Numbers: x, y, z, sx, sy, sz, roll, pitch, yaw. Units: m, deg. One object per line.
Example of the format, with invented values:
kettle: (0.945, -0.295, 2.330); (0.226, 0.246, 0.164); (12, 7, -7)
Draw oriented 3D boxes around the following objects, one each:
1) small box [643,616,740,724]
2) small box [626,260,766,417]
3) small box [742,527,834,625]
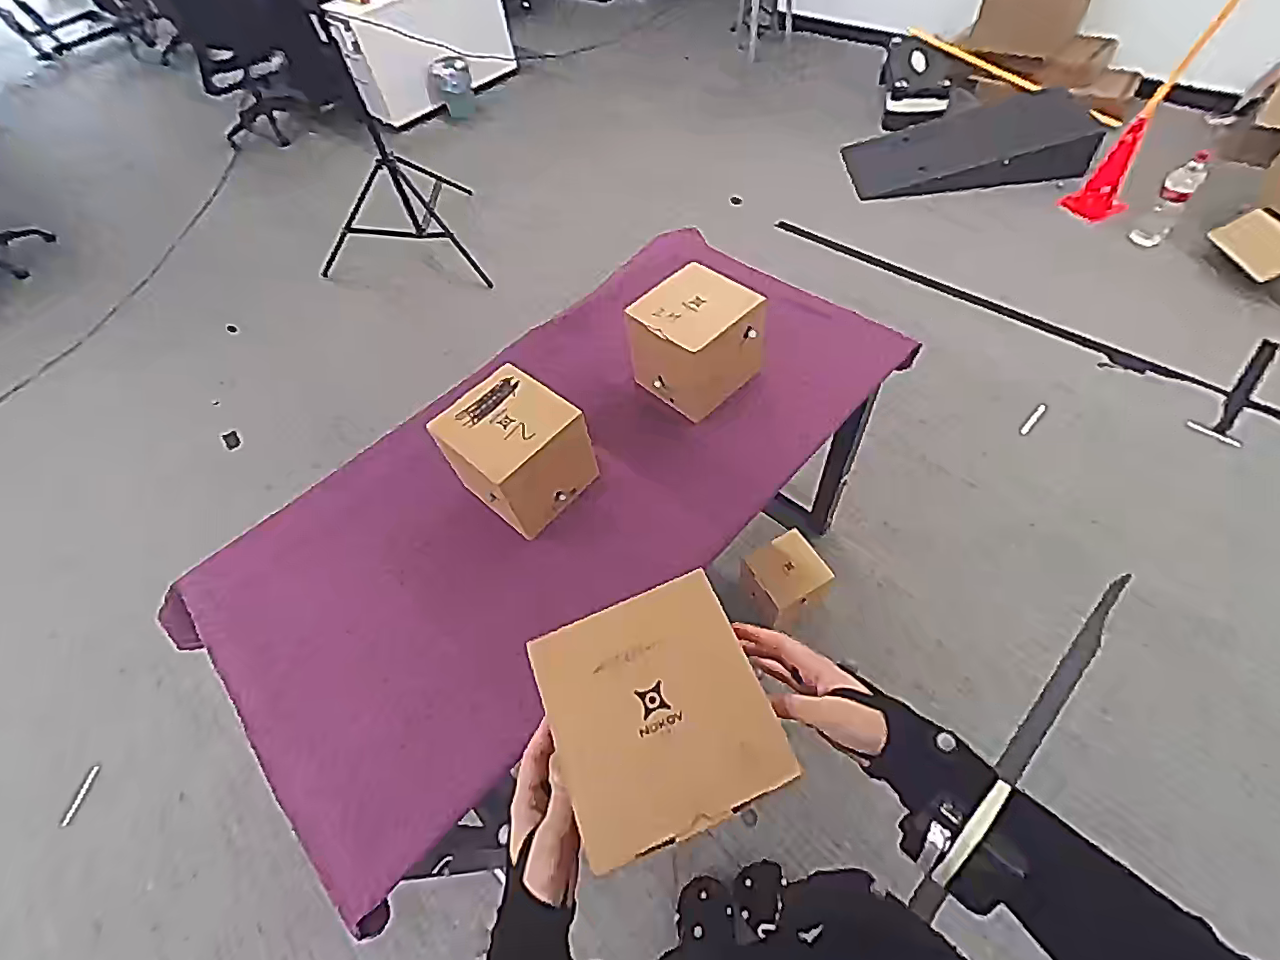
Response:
small box: (0.128, 0.479, 1.348); (0.179, 0.176, 0.168); (37, 68, 26)
small box: (0.099, -0.247, 0.956); (0.179, 0.176, 0.168); (-41, 60, -18)
small box: (0.390, 0.263, 1.460); (0.179, 0.176, 0.168); (-28, 58, -10)
